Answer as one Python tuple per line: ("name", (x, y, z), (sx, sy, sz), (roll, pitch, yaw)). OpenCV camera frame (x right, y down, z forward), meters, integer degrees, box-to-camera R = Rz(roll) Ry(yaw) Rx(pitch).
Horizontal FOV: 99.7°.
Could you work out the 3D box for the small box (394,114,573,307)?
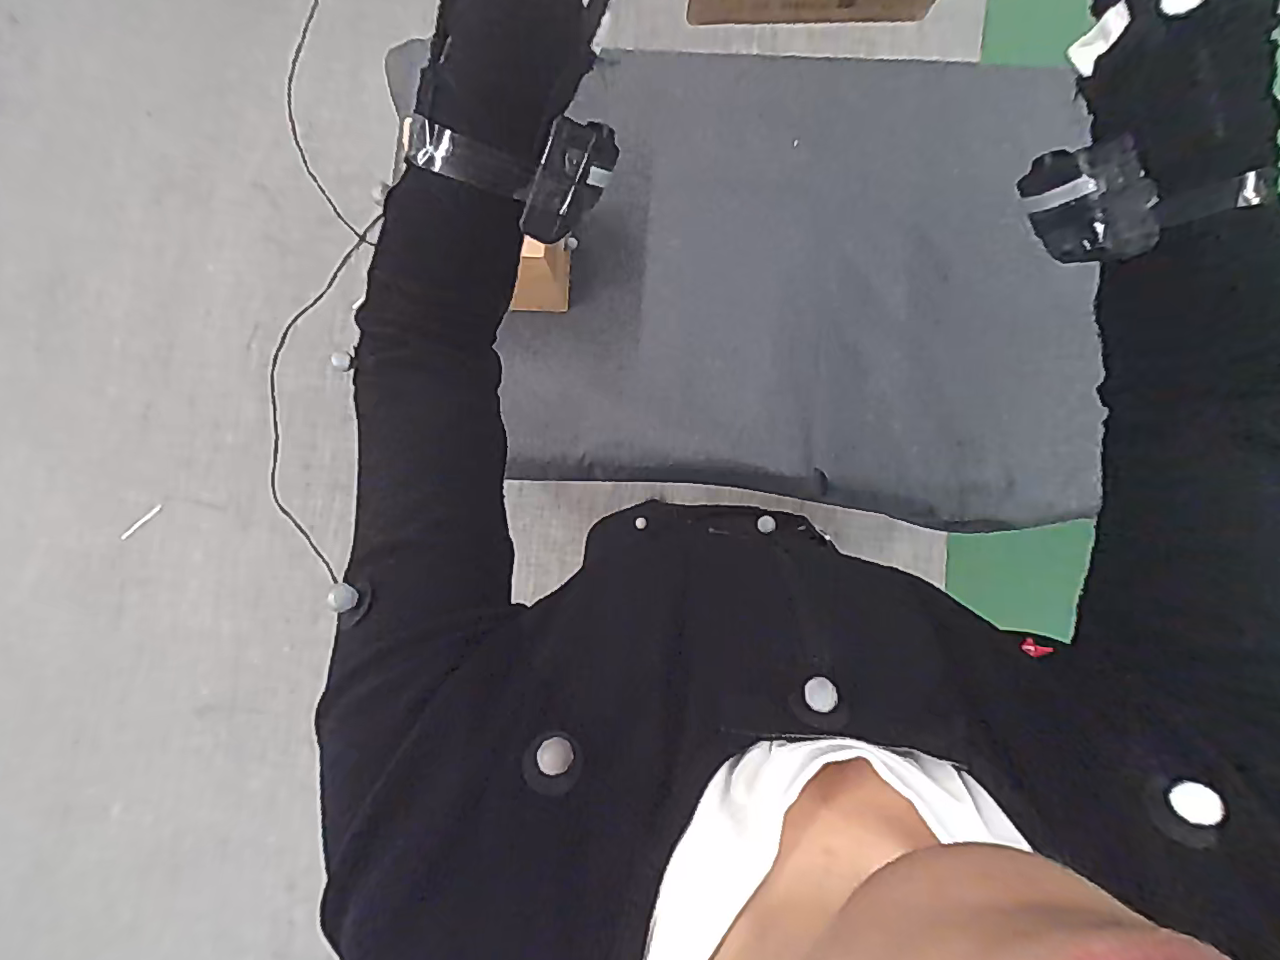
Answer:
("small box", (-0.190, -0.335, 0.701), (0.179, 0.176, 0.168), (3, 87, 1))
